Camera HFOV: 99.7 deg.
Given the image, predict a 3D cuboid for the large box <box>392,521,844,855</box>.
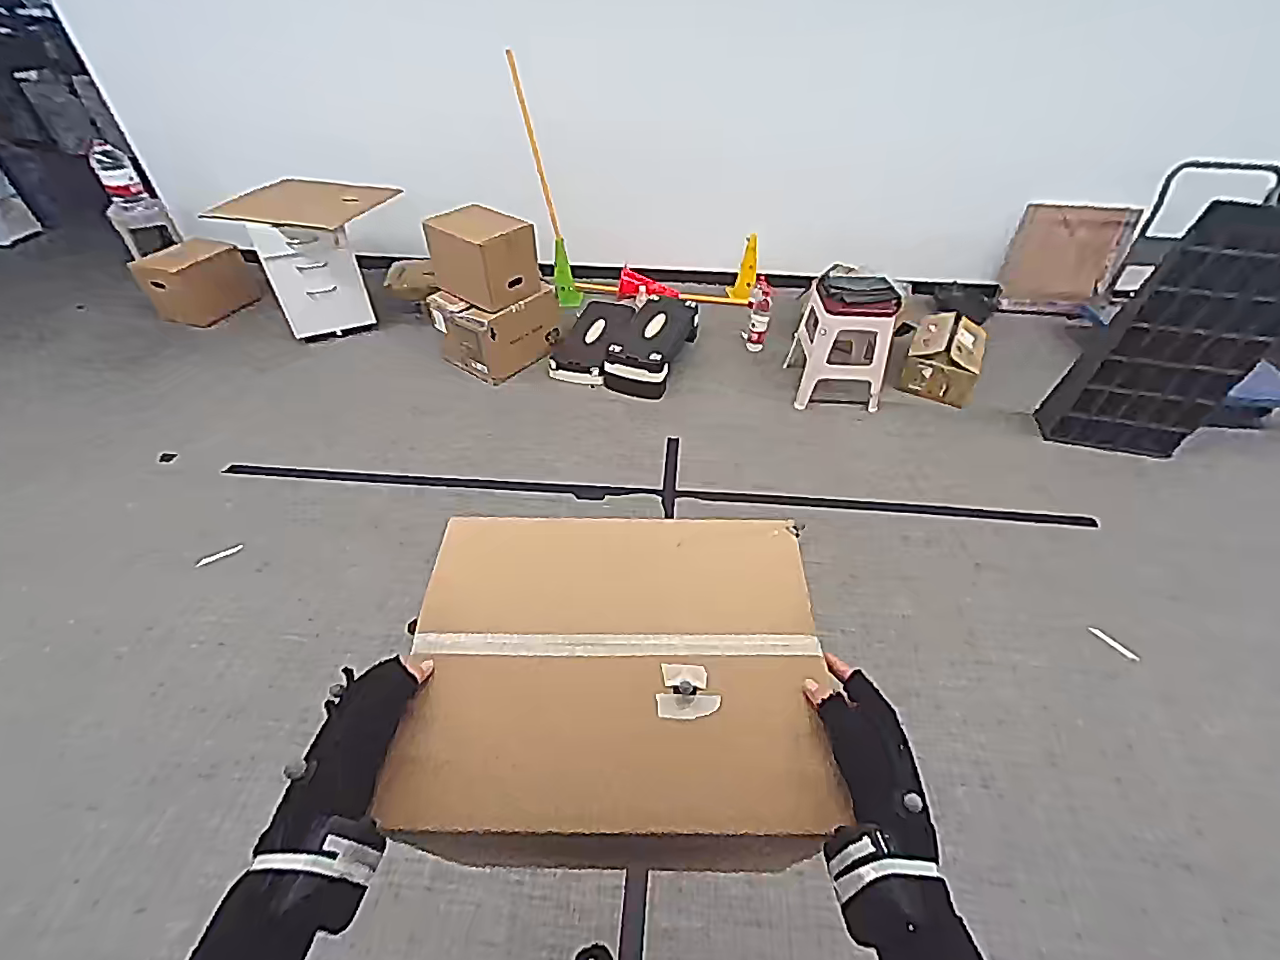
[{"bbox_3d":[-0.022,0.265,0.675,0.408,0.320,0.320,1,51,0],"label":"large box"}]
